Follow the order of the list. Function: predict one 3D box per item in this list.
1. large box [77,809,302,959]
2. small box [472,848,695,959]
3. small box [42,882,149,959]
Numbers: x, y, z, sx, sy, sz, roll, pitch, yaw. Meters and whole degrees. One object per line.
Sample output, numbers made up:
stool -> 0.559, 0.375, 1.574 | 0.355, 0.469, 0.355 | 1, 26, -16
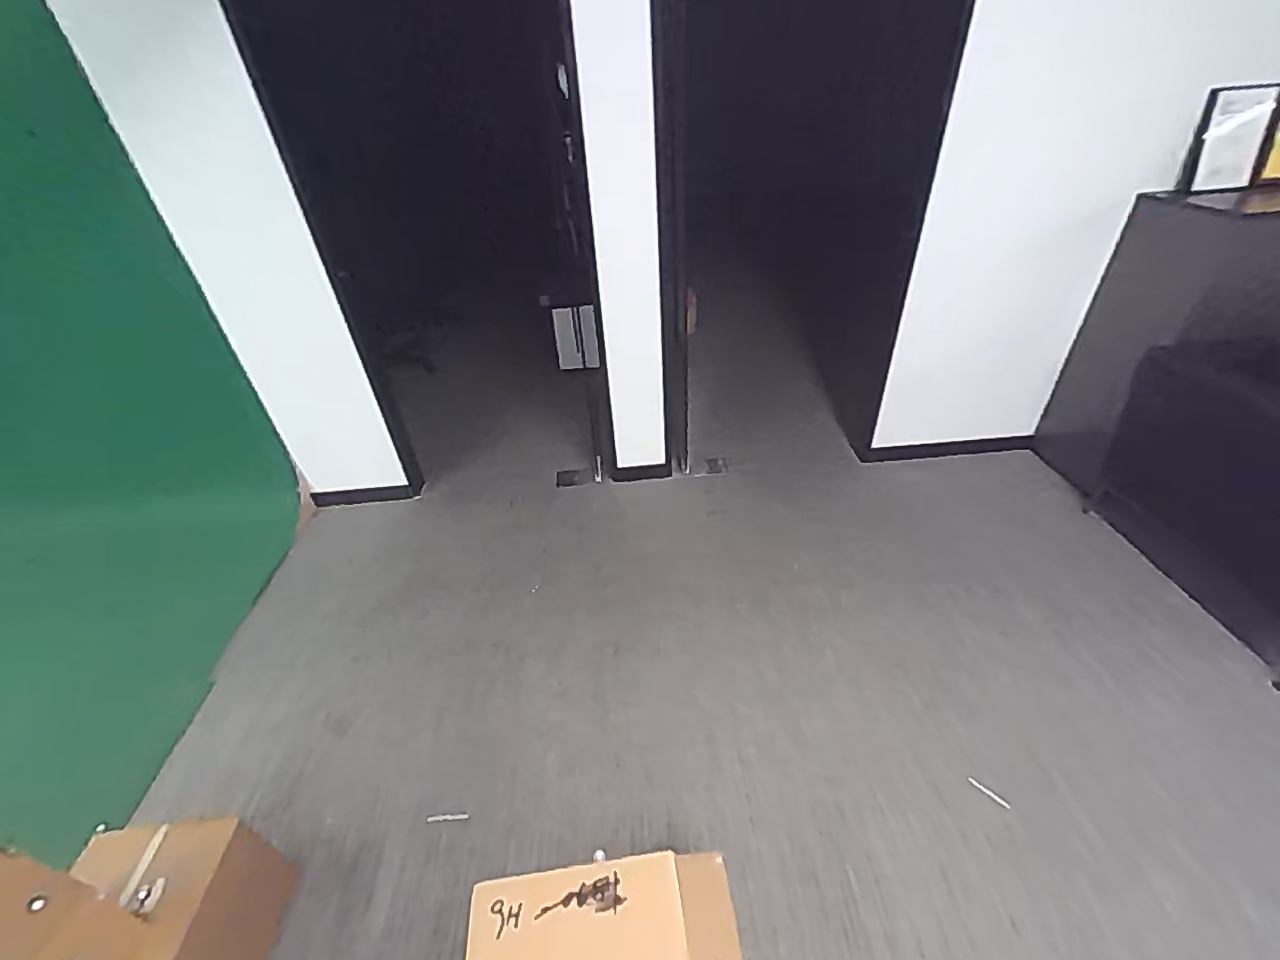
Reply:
large box -> -0.983, 0.970, 1.105 | 0.320, 0.320, 0.408 | -5, 36, -2
small box -> -0.033, 0.427, 0.430 | 0.168, 0.176, 0.179 | -8, 42, -3
small box -> -1.000, 0.808, 0.918 | 0.168, 0.176, 0.179 | 1, 38, 7
